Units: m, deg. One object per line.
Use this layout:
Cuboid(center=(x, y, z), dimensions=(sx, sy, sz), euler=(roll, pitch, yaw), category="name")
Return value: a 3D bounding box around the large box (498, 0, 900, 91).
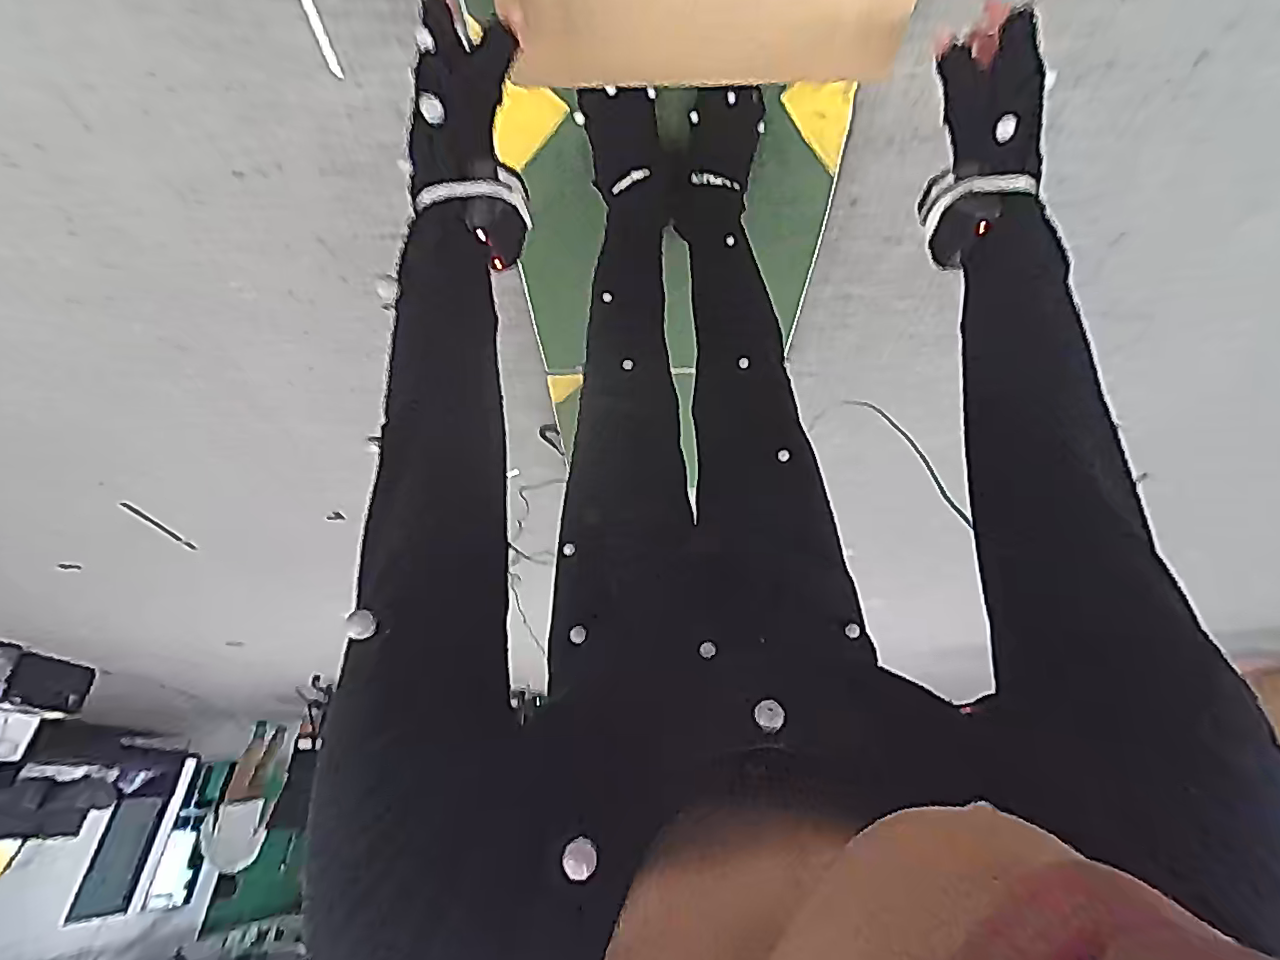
Cuboid(center=(0.051, -0.638, 0.539), dimensions=(0.408, 0.320, 0.320), euler=(-2, 148, -1), category="large box")
